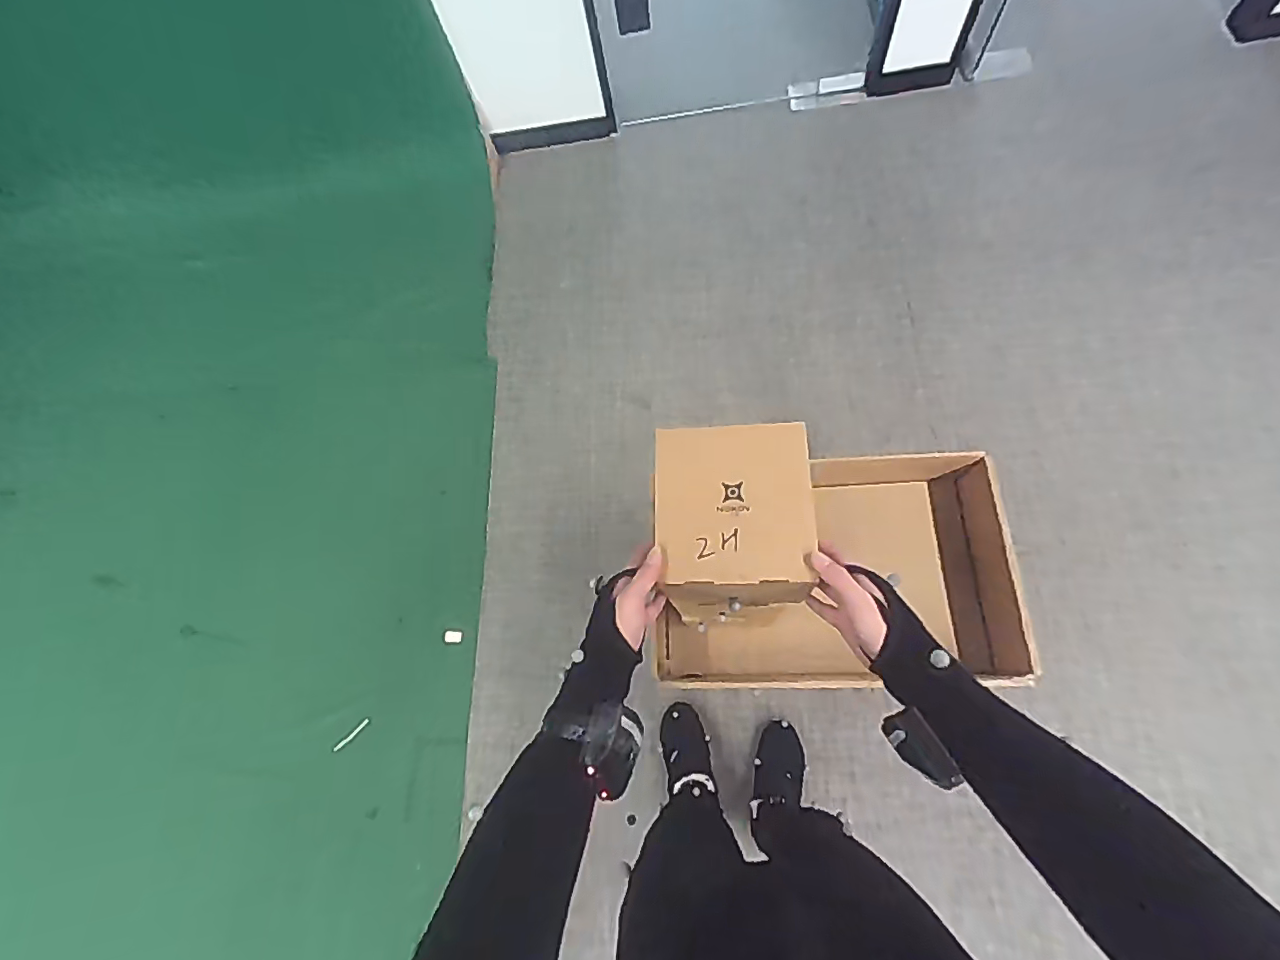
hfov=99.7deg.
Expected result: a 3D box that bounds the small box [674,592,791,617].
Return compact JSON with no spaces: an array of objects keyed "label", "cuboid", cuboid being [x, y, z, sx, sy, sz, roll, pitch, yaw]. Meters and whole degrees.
[{"label":"small box","cuboid":[0.143,0.119,0.862,0.168,0.176,0.179,-2,70,9]}]

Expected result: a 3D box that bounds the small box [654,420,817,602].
[{"label":"small box","cuboid":[0.110,0.045,0.647,0.168,0.176,0.179,-2,70,9]}]
